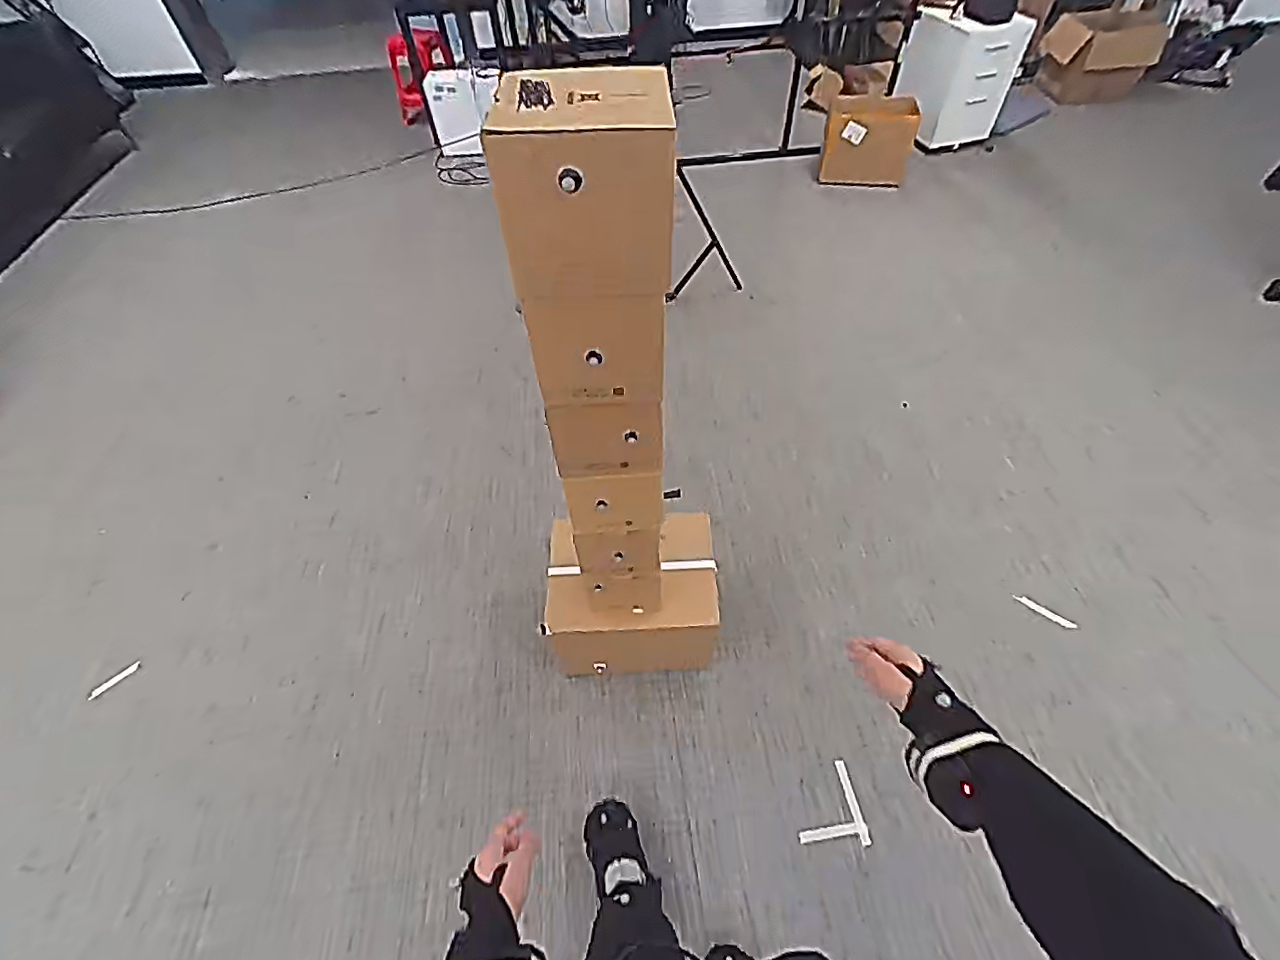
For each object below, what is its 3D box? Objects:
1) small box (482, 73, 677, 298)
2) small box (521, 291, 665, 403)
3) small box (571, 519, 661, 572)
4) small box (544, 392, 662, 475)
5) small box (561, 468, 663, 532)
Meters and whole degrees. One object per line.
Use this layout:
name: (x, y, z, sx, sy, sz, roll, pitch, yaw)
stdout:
small box: (-0.053, -0.313, 0.586, 0.179, 0.176, 0.168, -2, 52, -1)
small box: (-0.052, -0.216, 0.719, 0.168, 0.176, 0.179, -2, 51, 0)
small box: (-0.043, 0.081, 1.108, 0.168, 0.176, 0.179, -2, 53, 1)
small box: (-0.052, -0.119, 0.852, 0.168, 0.176, 0.179, -4, 51, -2)
small box: (-0.046, -0.016, 0.978, 0.168, 0.176, 0.179, -4, 52, 0)
